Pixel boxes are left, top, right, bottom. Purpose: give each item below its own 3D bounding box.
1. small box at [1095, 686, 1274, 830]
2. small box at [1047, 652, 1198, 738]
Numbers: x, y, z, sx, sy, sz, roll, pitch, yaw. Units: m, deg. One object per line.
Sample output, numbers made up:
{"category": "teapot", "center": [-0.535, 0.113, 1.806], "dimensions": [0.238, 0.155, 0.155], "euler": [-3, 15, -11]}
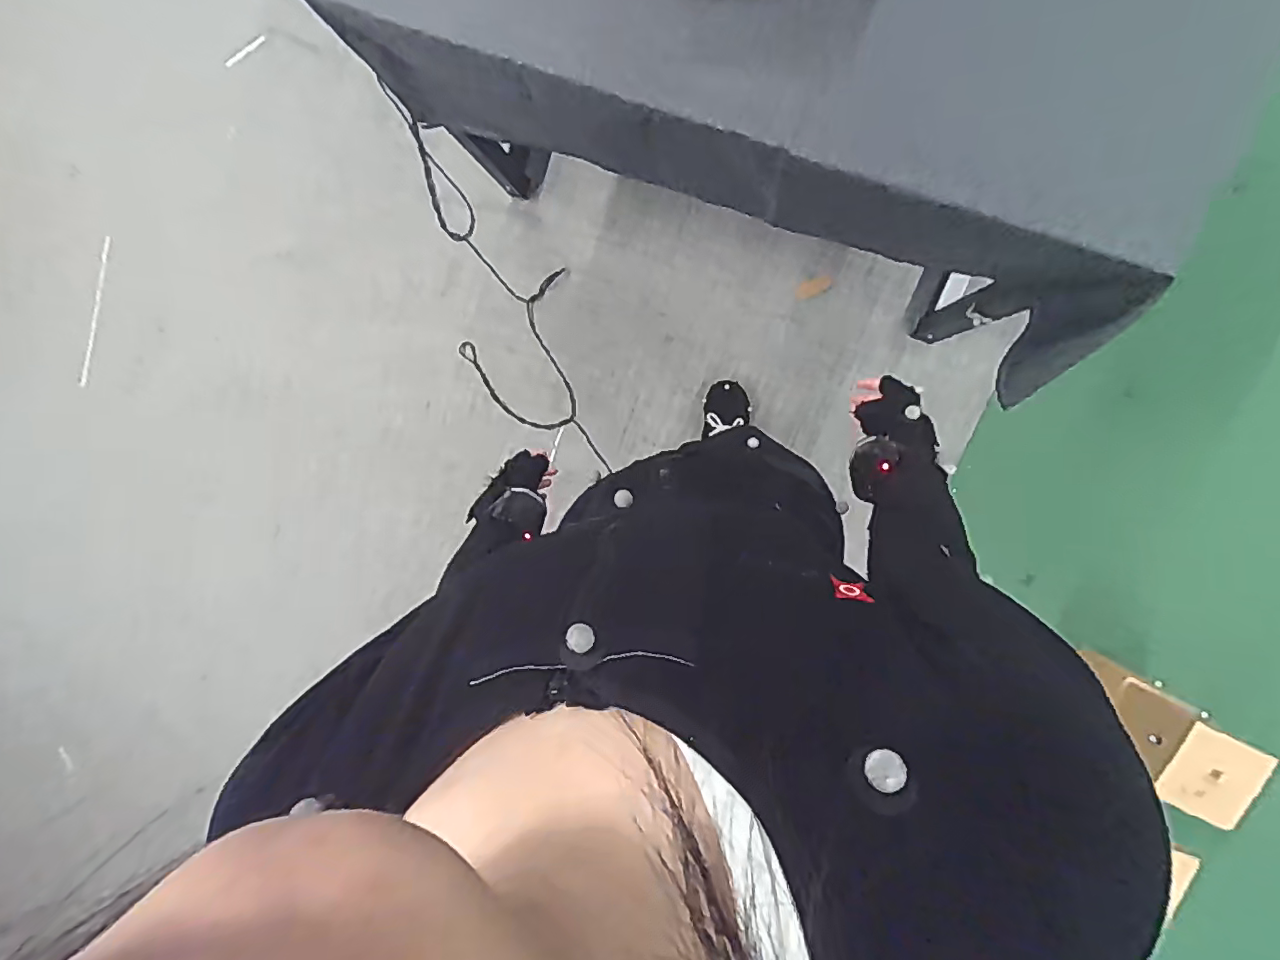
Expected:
{"category": "small box", "center": [1.123, 0.570, 1.135], "dimensions": [0.168, 0.176, 0.179], "euler": [26, 99, 4]}
{"category": "small box", "center": [1.140, 0.540, 1.297], "dimensions": [0.179, 0.176, 0.168], "euler": [27, 99, 4]}
